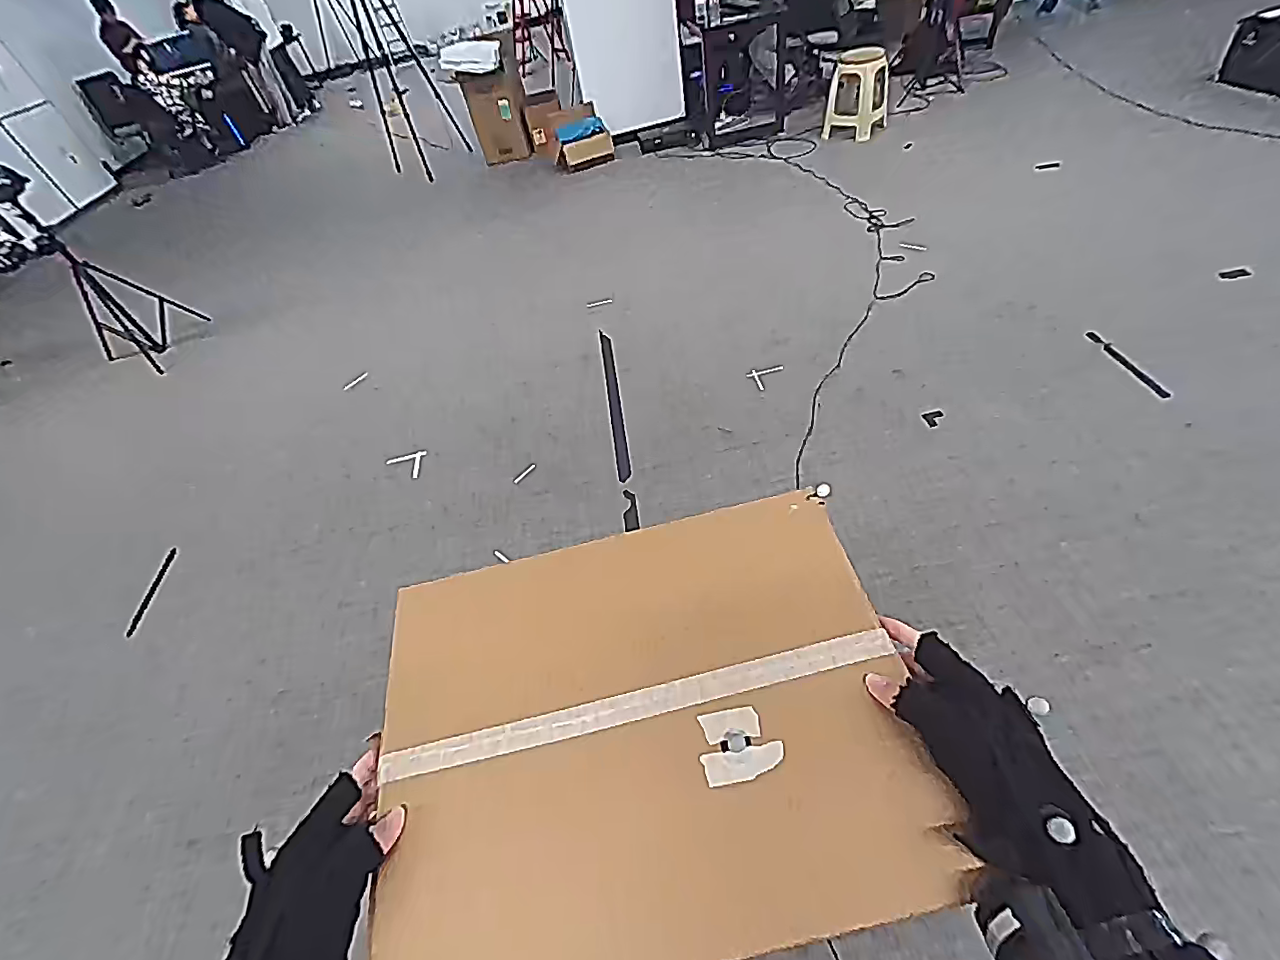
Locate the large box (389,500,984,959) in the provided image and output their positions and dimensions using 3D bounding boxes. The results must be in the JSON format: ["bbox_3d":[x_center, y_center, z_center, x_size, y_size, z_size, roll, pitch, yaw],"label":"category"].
[{"bbox_3d":[0.022,0.273,0.550,0.408,0.320,0.320,-14,52,0],"label":"large box"}]
